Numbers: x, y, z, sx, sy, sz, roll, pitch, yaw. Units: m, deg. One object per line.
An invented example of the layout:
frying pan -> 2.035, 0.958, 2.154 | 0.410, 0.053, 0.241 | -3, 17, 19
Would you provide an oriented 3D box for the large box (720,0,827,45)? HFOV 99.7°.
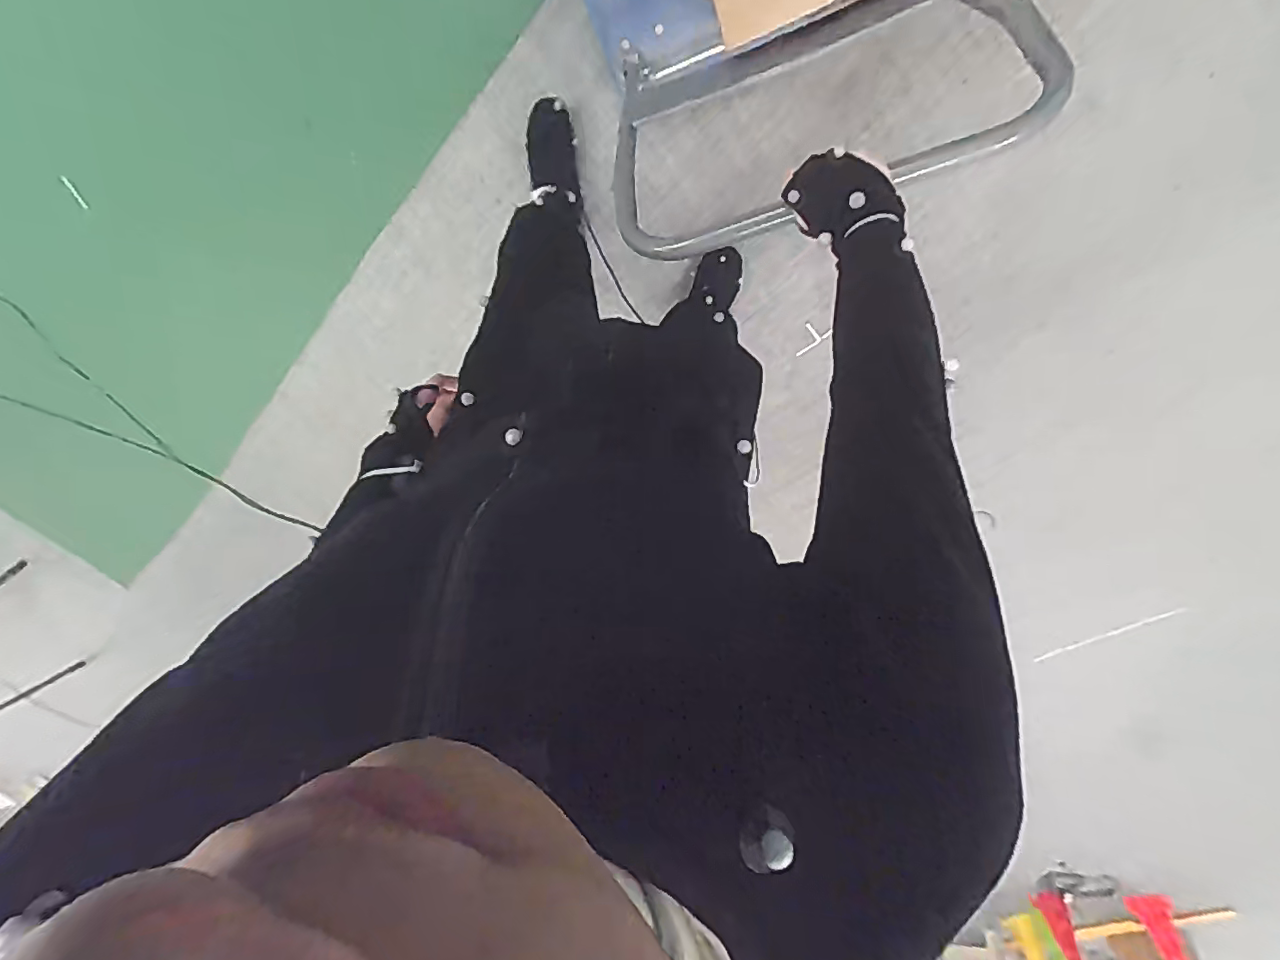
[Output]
large box -> 0.214, -0.922, 0.739 | 0.320, 0.320, 0.408 | -14, 134, 18
